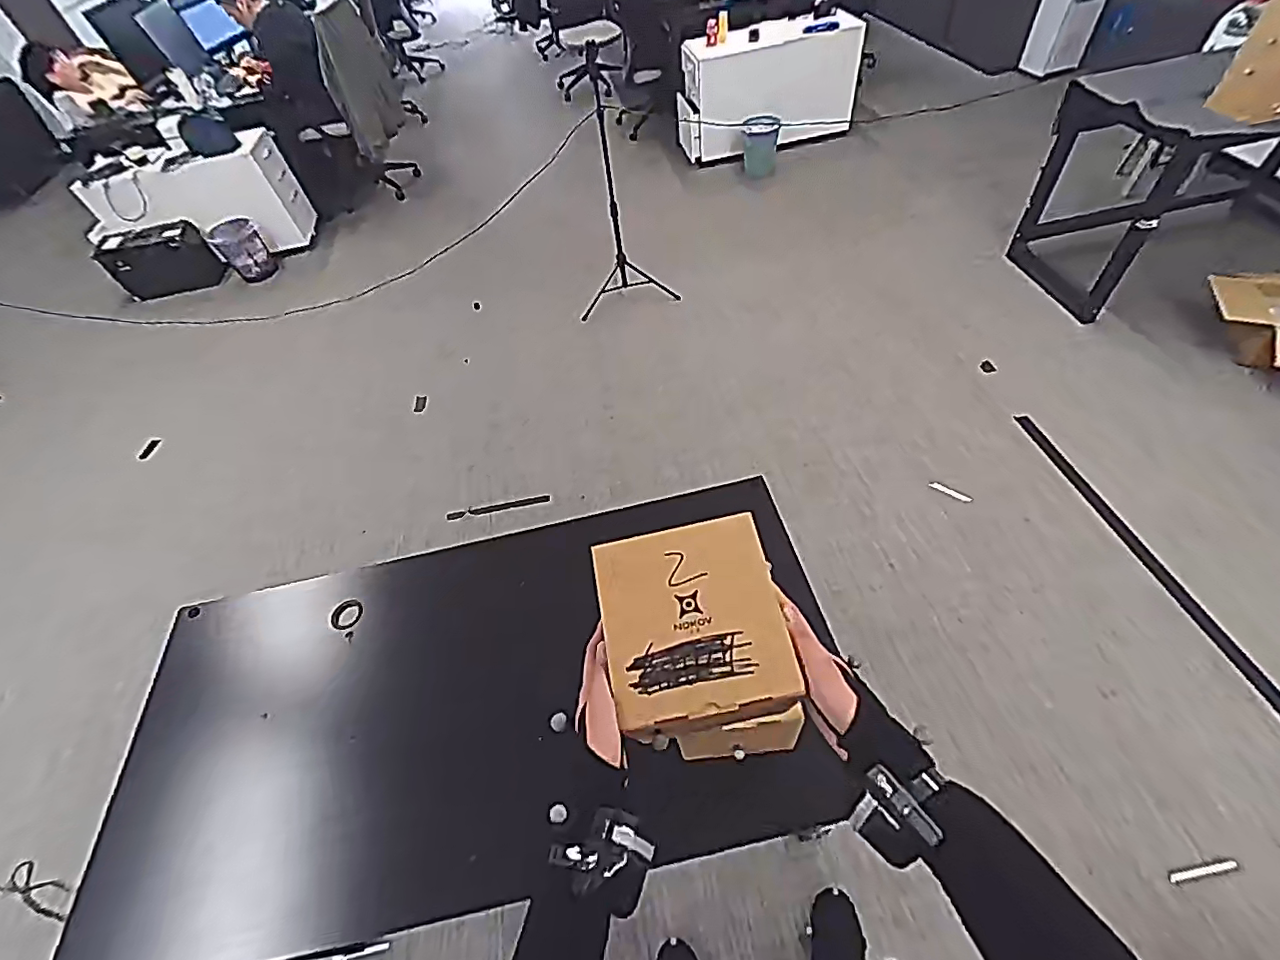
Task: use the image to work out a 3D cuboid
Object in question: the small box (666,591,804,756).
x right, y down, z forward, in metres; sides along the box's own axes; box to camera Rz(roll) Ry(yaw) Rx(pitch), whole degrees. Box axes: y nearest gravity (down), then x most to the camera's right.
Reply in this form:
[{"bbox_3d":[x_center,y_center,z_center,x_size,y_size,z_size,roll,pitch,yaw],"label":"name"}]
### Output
[{"bbox_3d":[0.130,0.285,0.791,0.168,0.176,0.179,-8,52,4],"label":"small box"}]
